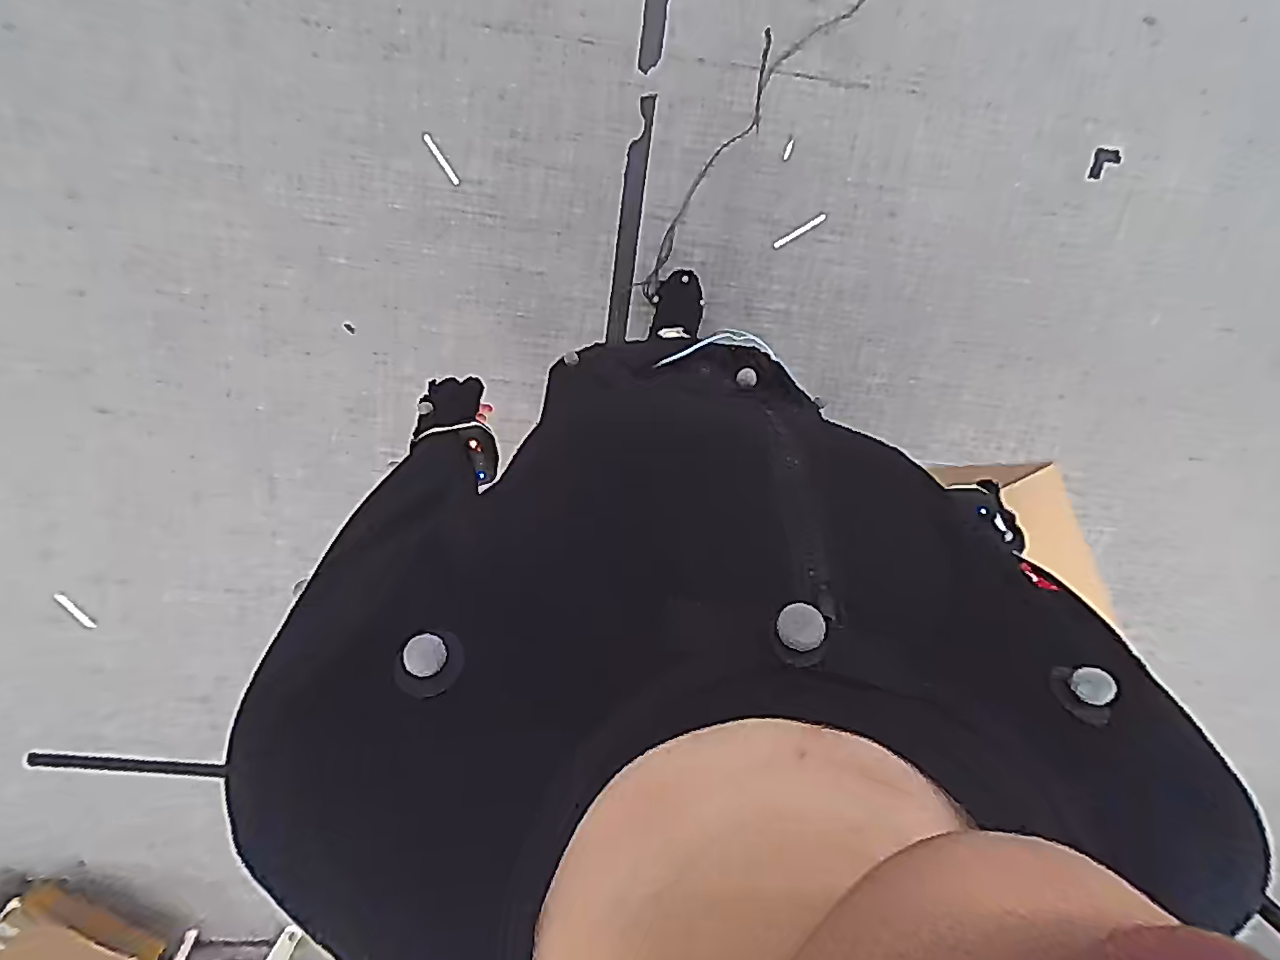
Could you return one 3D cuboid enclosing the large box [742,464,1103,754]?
[{"bbox_3d":[0.431,0.181,0.919,0.320,0.408,0.320,-21,91,-9],"label":"large box"}]
